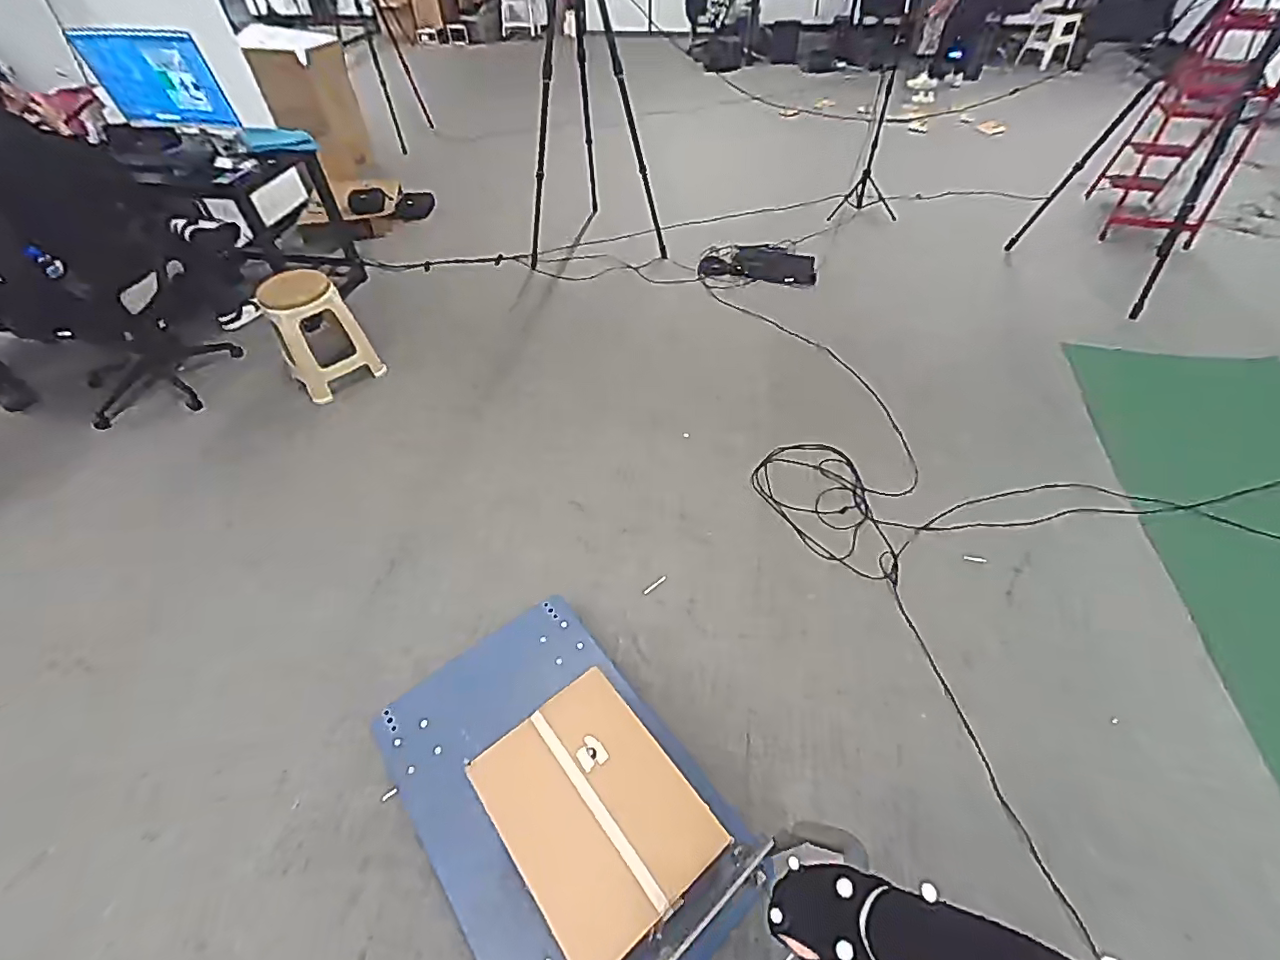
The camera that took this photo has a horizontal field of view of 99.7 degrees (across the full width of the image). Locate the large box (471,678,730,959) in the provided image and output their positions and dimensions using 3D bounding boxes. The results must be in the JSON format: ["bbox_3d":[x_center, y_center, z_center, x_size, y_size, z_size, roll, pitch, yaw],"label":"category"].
[{"bbox_3d":[-0.075,0.704,1.101,0.320,0.320,0.408,-32,54,-24],"label":"large box"}]
